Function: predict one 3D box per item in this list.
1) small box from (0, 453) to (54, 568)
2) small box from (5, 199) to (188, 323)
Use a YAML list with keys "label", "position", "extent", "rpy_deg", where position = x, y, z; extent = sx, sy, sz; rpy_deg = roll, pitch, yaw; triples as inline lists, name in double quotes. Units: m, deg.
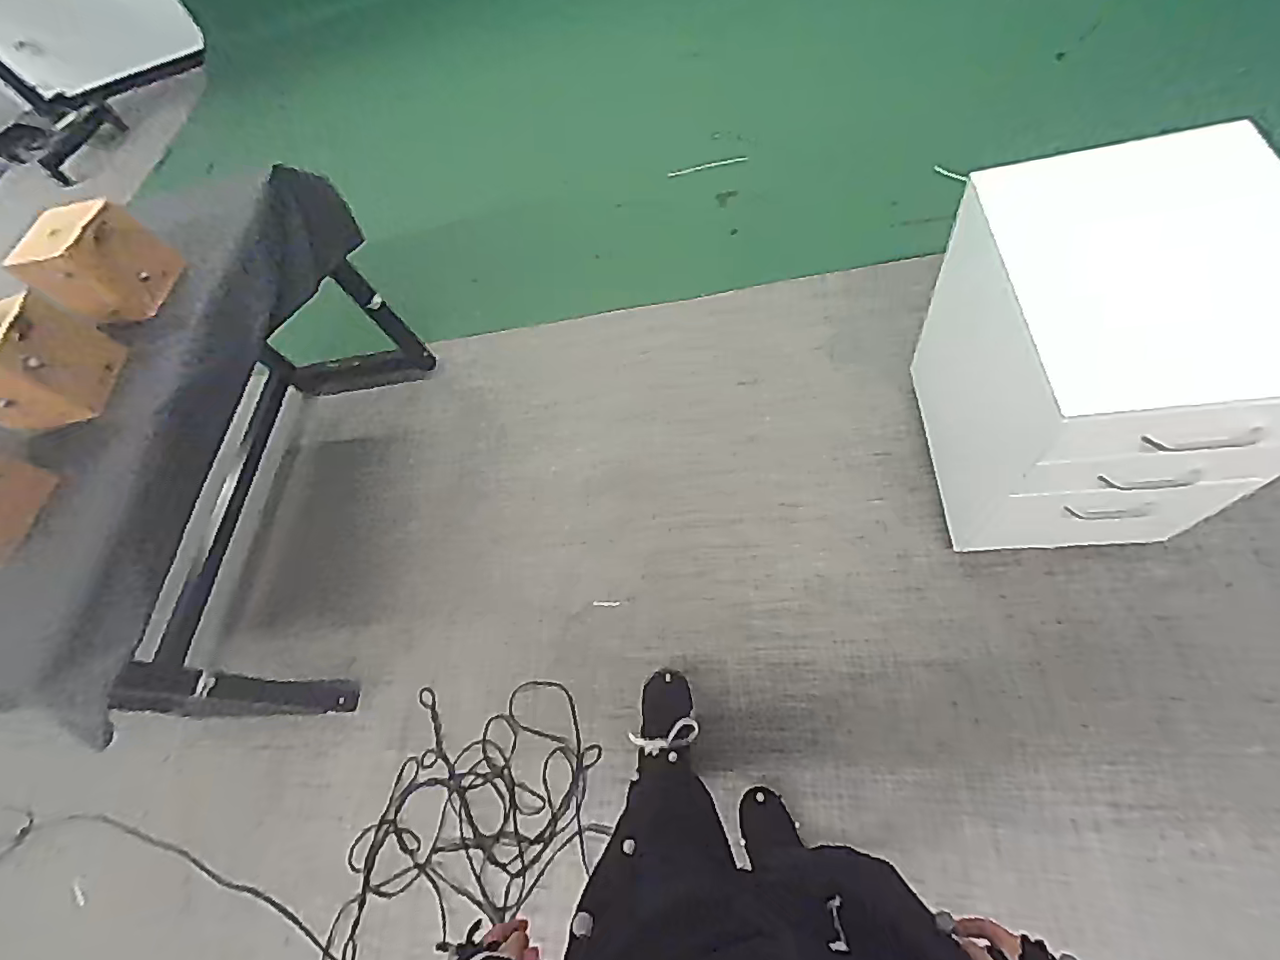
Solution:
- label: "small box"
  position: [-1.131, 0.034, 0.878]
  extent: [0.168, 0.176, 0.179]
  rpy_deg: [-2, 64, 16]
- label: "small box"
  position: [-1.112, -0.445, 1.121]
  extent: [0.179, 0.176, 0.168]
  rpy_deg: [-1, 63, 15]
